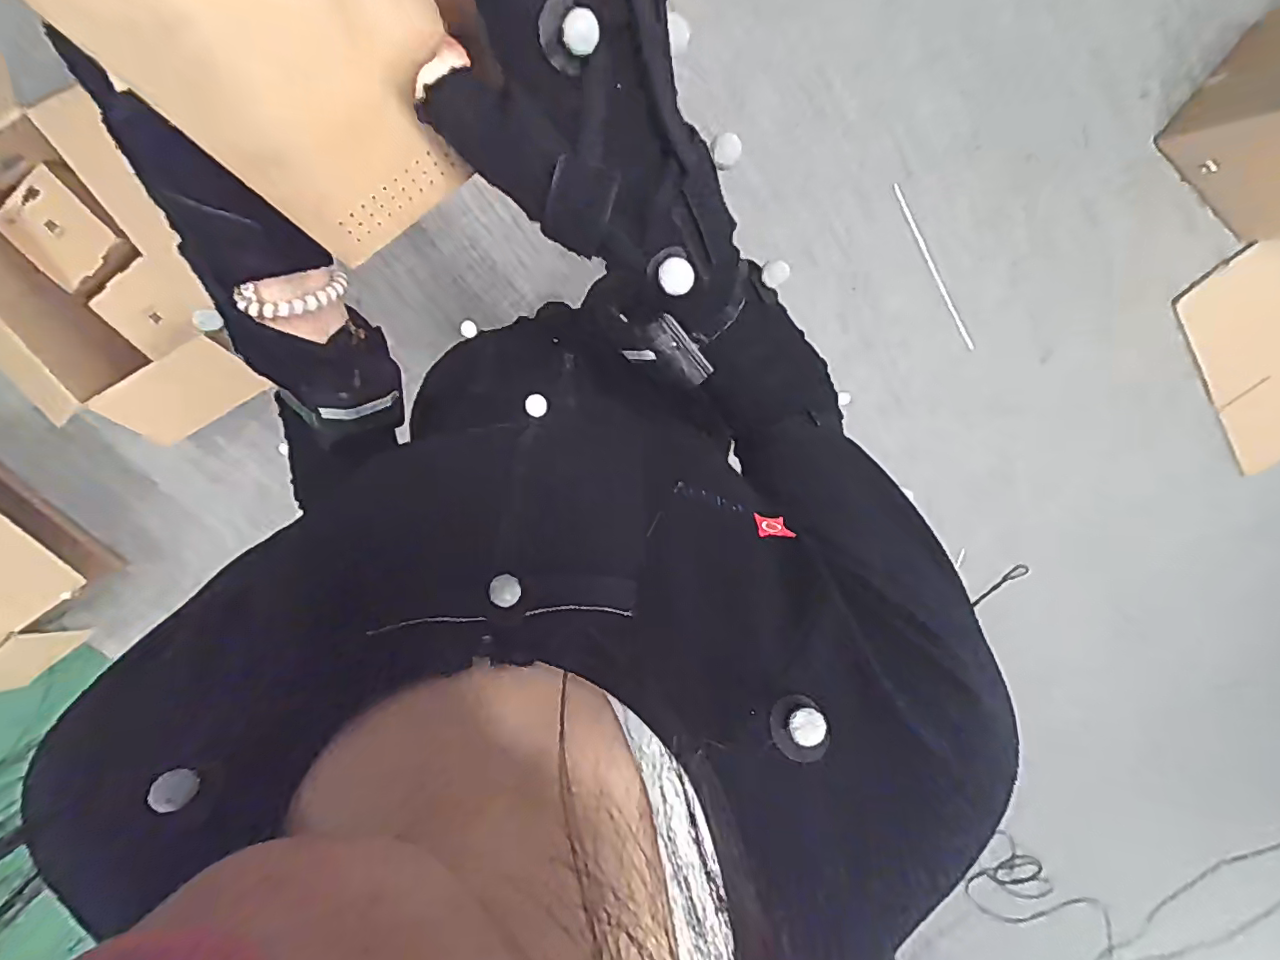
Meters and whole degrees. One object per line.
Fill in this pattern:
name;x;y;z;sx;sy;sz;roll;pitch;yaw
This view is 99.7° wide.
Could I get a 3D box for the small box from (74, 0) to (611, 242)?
small box;-0.133;-0.236;0.210;0.179;0.176;0.168;-39;80;0
